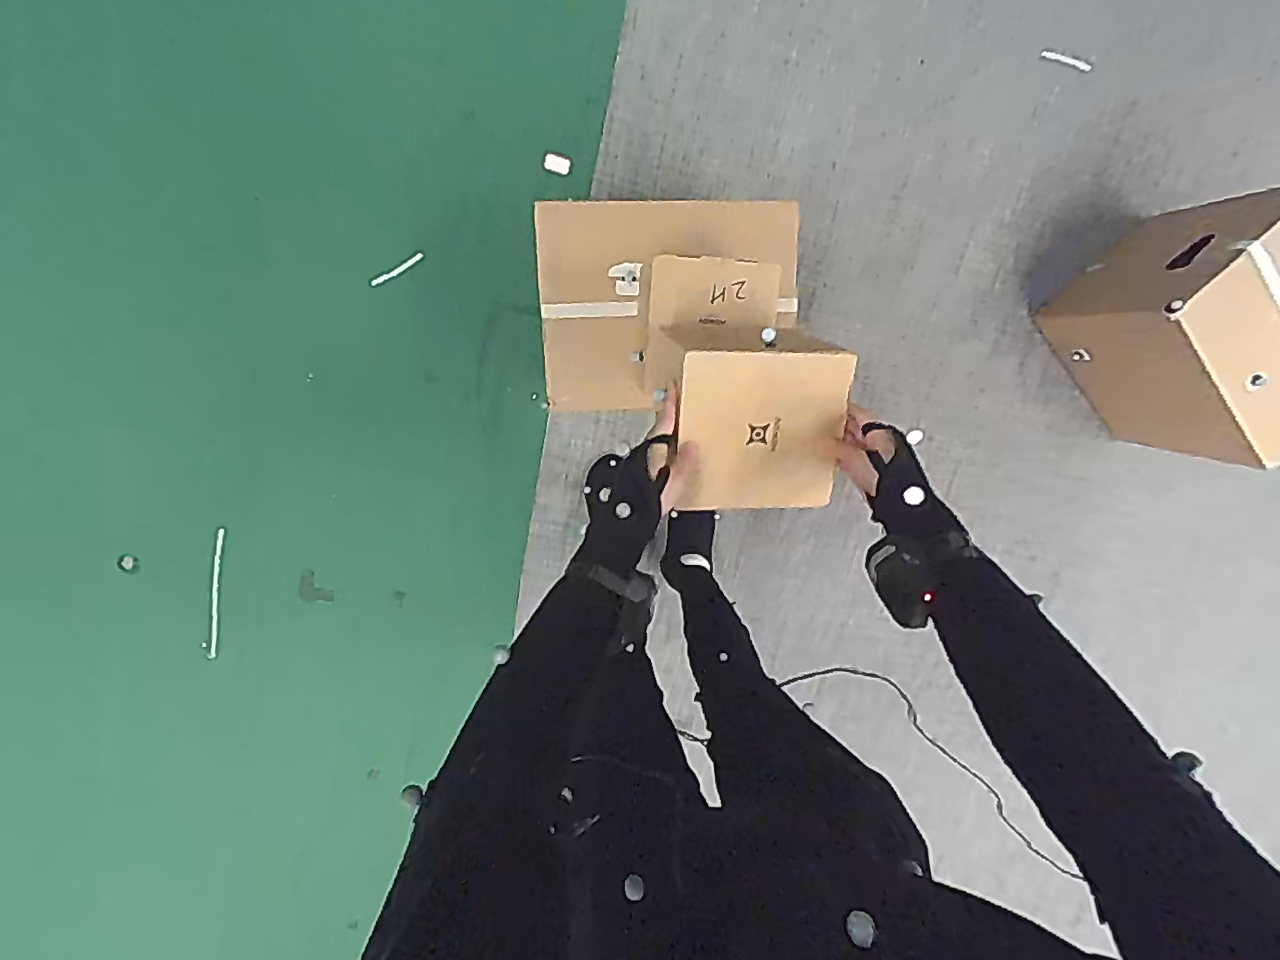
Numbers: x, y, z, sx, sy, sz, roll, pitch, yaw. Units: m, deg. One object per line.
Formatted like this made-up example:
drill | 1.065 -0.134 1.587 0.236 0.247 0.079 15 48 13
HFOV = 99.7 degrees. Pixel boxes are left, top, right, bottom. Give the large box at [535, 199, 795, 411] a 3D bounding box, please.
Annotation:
large box | 0.037 -0.307 0.993 0.408 0.320 0.320 -2 104 -4

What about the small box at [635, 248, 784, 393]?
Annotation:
small box | 0.085 -0.216 0.765 0.168 0.176 0.179 3 105 -7

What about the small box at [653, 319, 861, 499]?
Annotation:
small box | 0.114 -0.087 0.610 0.179 0.176 0.168 -1 113 -9
